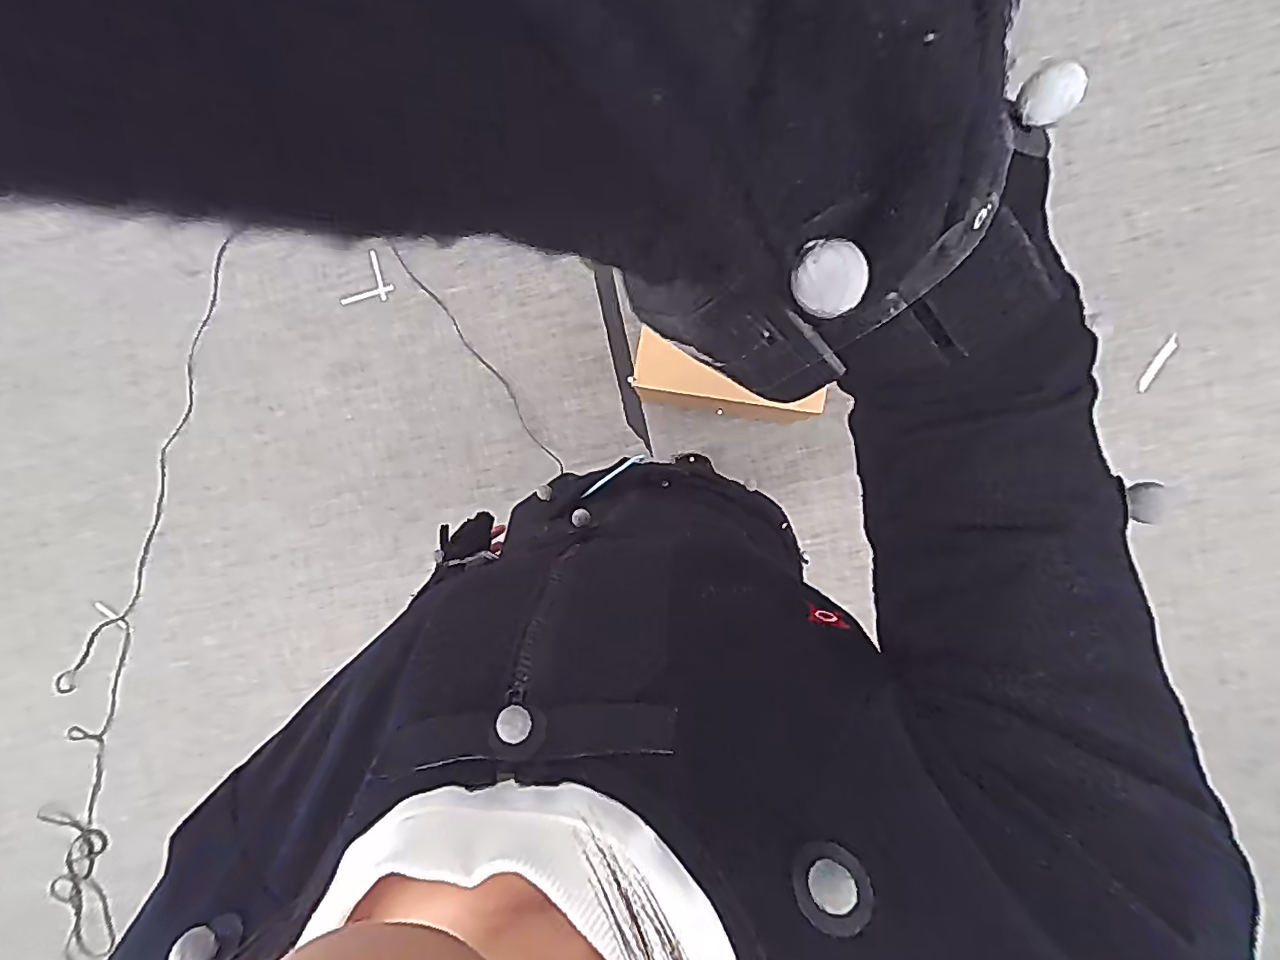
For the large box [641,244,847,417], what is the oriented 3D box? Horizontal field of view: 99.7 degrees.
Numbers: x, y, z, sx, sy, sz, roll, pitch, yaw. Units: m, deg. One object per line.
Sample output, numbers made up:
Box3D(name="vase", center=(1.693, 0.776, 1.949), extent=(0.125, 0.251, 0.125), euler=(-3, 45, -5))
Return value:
Box3D(name="large box", center=(0.231, -0.334, 1.292), extent=(0.408, 0.320, 0.320), euler=(9, 92, 5))
